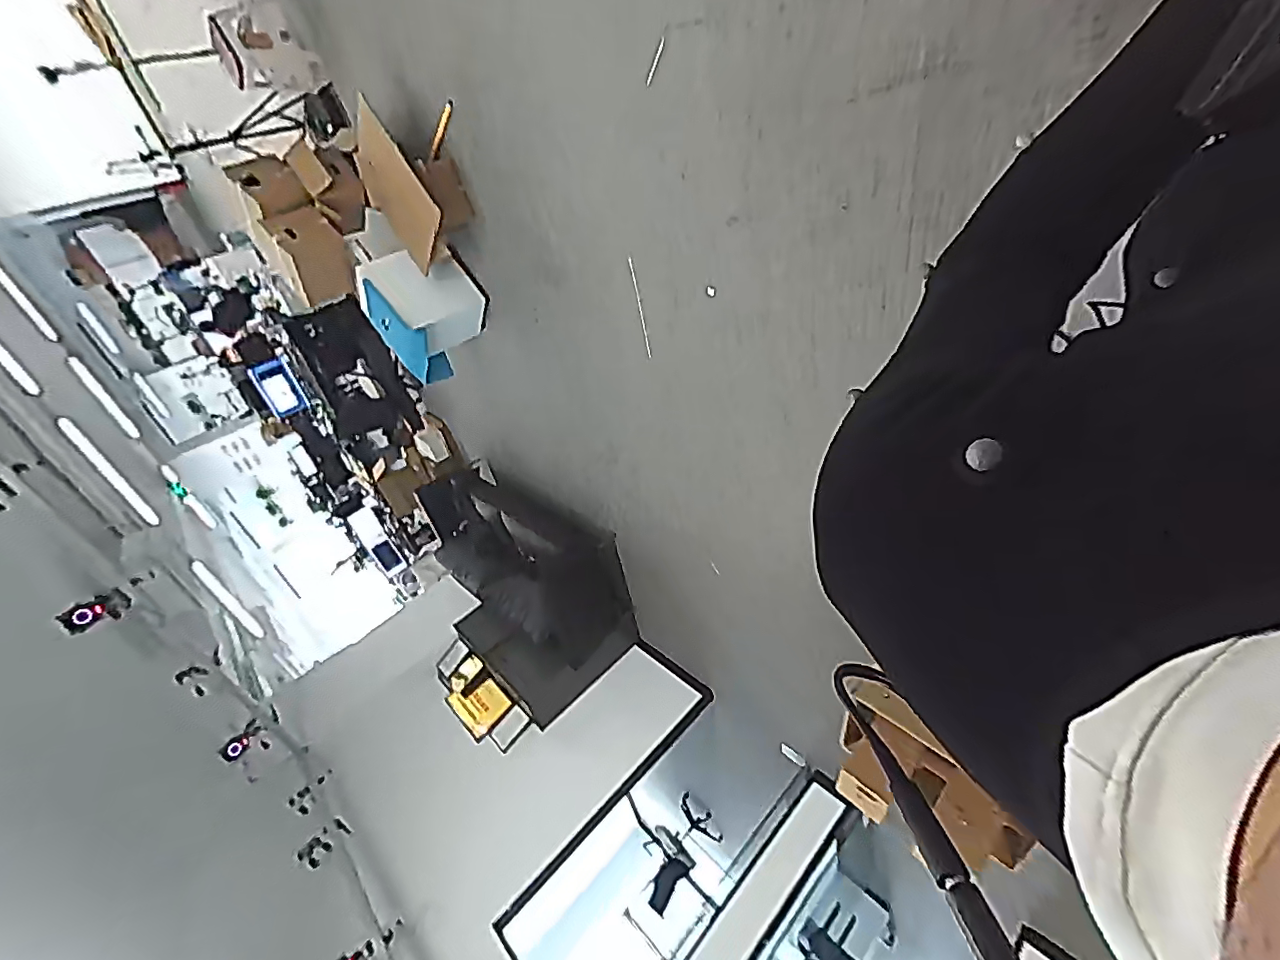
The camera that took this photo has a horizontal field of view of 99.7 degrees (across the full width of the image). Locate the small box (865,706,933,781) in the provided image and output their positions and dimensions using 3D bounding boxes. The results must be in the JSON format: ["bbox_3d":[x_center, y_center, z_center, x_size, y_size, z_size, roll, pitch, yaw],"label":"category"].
[{"bbox_3d":[0.901,0.941,1.903,0.168,0.176,0.179,30,141,37],"label":"small box"}]

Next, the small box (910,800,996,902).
[{"bbox_3d":[0.967,1.140,1.670,0.168,0.176,0.179,28,141,38],"label":"small box"}]

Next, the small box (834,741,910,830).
[{"bbox_3d":[0.783,1.023,1.823,0.168,0.176,0.179,31,143,37],"label":"small box"}]
